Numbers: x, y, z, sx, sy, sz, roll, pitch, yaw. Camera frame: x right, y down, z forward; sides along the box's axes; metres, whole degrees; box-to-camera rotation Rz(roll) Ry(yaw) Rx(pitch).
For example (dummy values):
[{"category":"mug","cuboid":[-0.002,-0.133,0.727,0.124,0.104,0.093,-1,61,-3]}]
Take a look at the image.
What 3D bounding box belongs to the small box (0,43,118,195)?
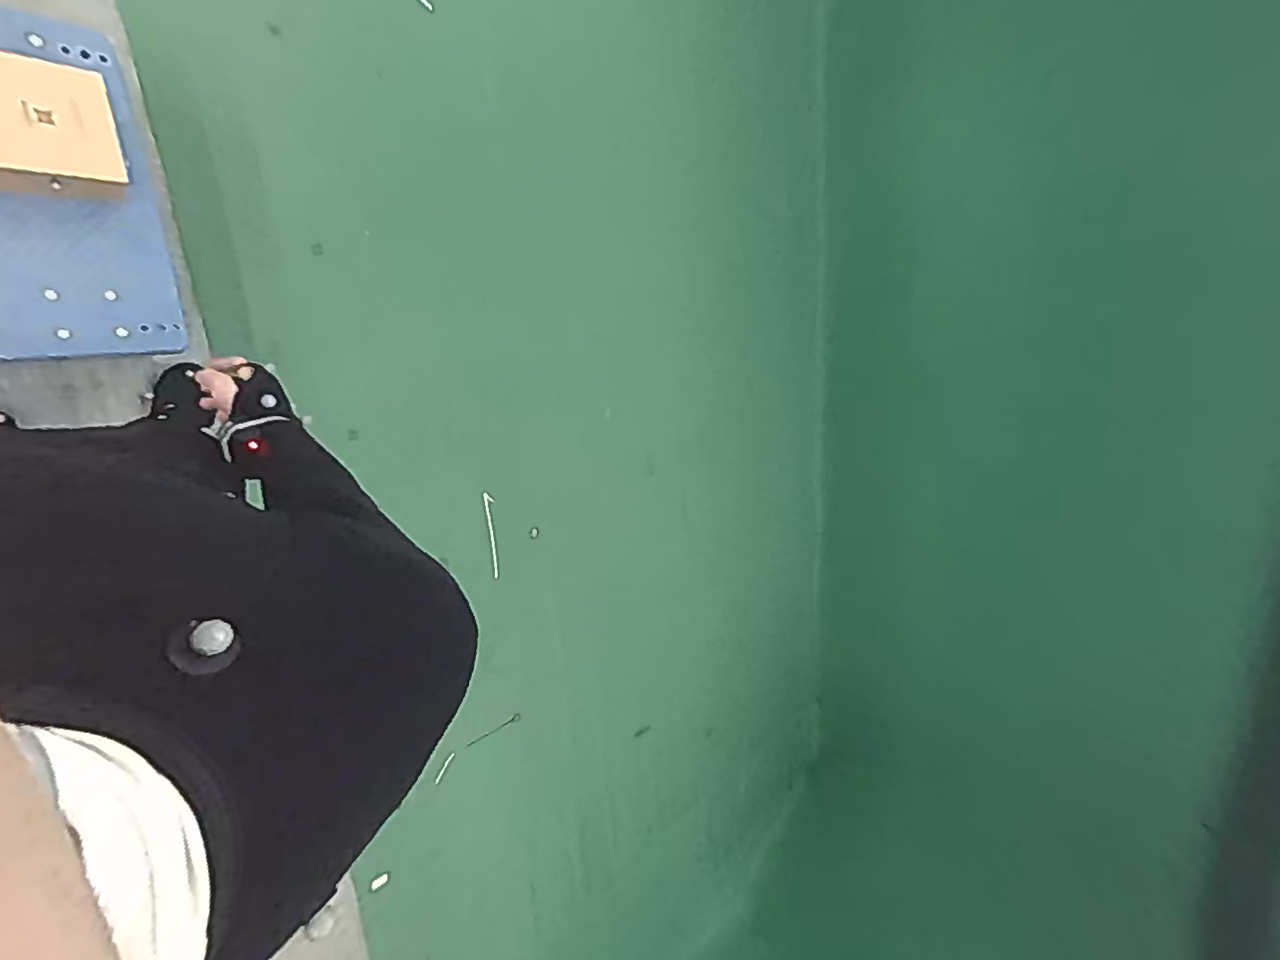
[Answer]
[{"category":"small box","cuboid":[-0.999,-0.586,0.889,0.179,0.176,0.168,-16,109,-43]}]
